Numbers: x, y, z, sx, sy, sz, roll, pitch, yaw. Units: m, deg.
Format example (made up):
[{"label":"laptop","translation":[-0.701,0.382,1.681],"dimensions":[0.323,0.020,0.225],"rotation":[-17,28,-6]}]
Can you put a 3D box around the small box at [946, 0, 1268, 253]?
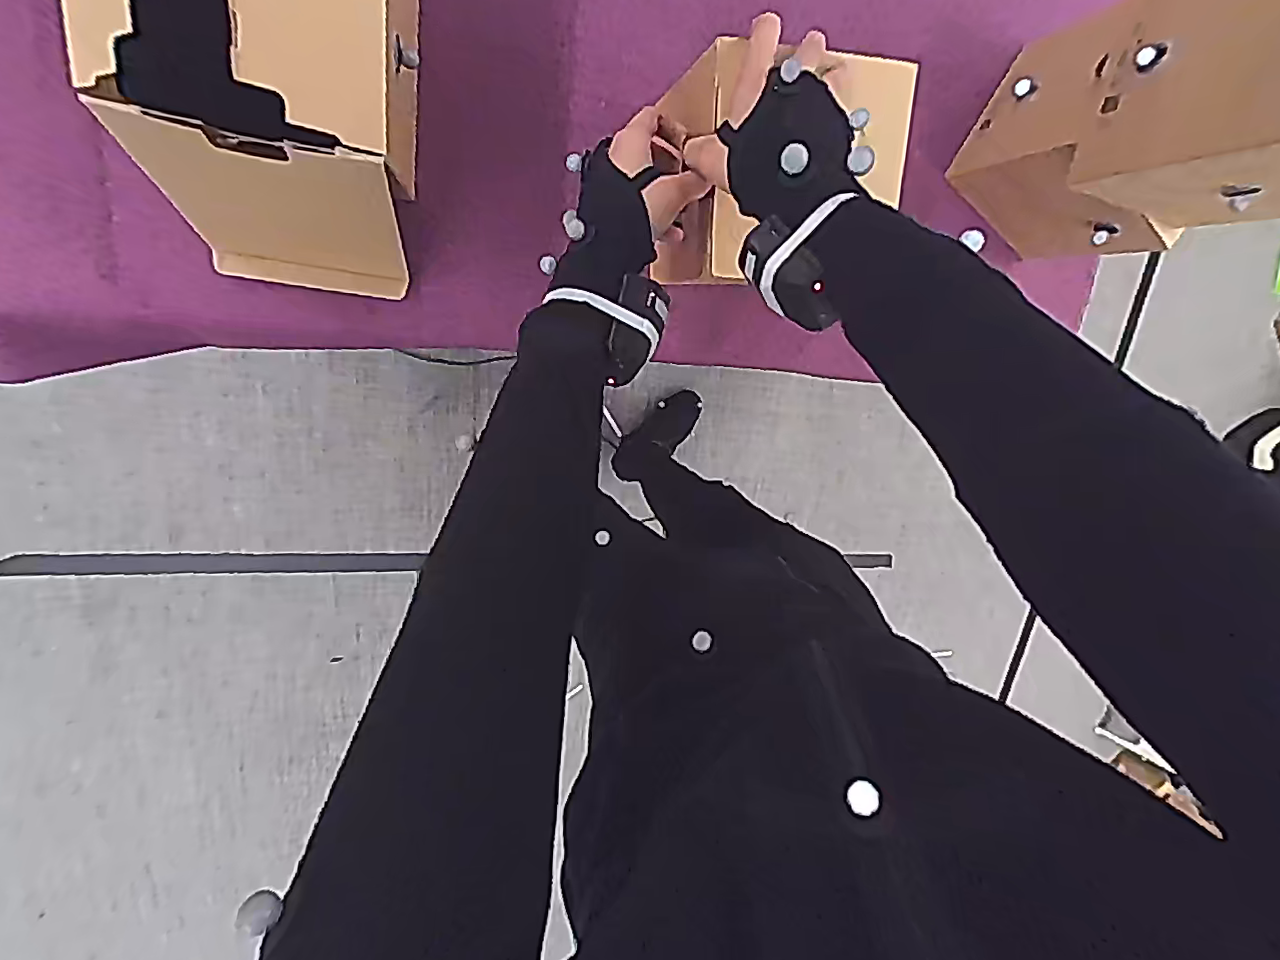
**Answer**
[{"label":"small box","translation":[0.486,-0.366,0.584],"dimensions":[0.179,0.176,0.168],"rotation":[27,98,-22]}]

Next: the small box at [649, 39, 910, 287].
[{"label":"small box","translation":[0.112,-0.272,0.509],"dimensions":[0.179,0.176,0.168],"rotation":[-5,110,-15]}]
